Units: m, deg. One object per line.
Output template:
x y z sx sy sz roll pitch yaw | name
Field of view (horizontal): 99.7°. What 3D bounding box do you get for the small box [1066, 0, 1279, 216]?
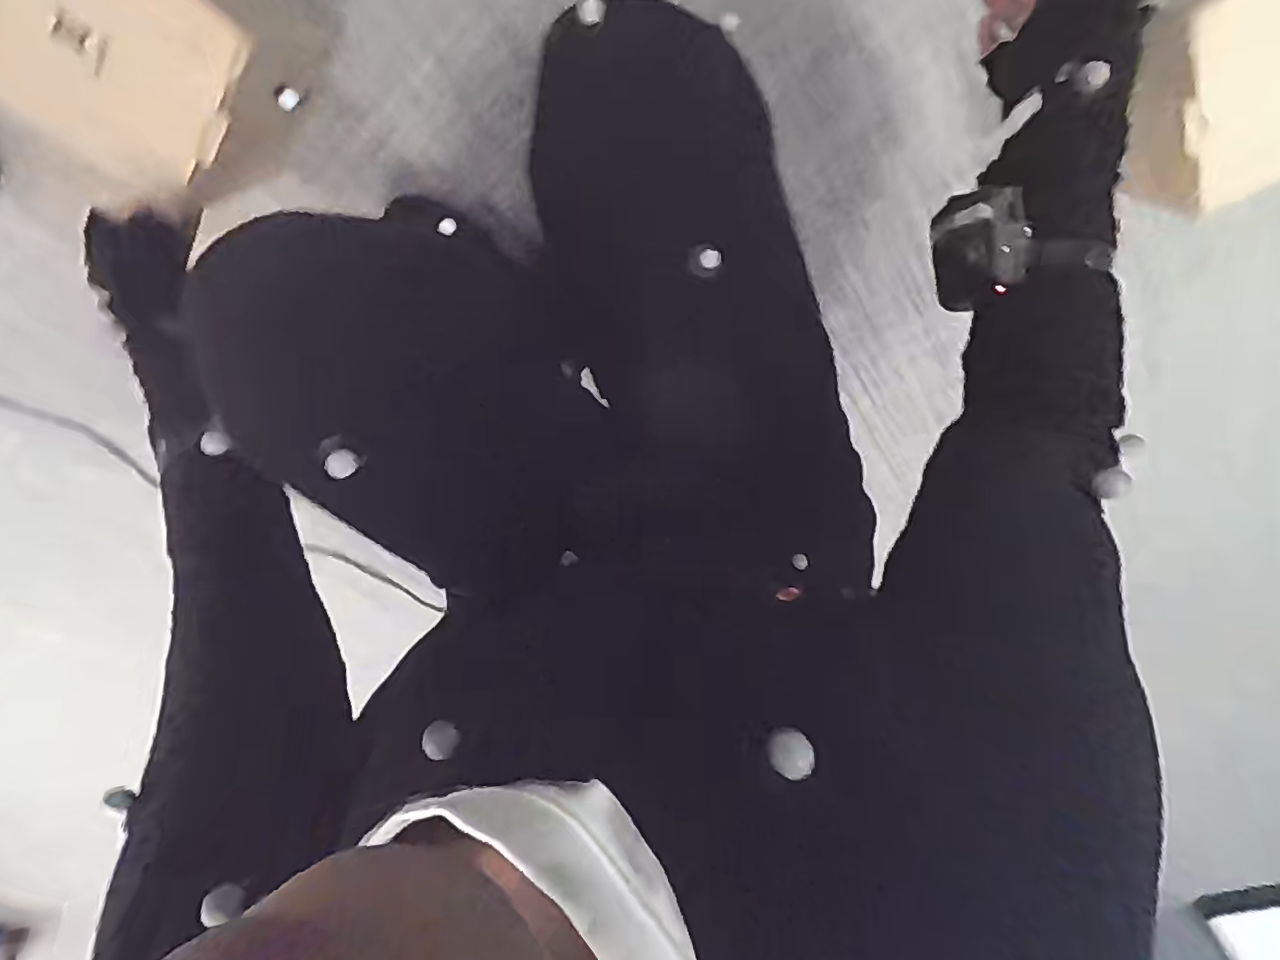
0.500 -0.365 0.456 0.179 0.176 0.168 -26 125 21 | small box
